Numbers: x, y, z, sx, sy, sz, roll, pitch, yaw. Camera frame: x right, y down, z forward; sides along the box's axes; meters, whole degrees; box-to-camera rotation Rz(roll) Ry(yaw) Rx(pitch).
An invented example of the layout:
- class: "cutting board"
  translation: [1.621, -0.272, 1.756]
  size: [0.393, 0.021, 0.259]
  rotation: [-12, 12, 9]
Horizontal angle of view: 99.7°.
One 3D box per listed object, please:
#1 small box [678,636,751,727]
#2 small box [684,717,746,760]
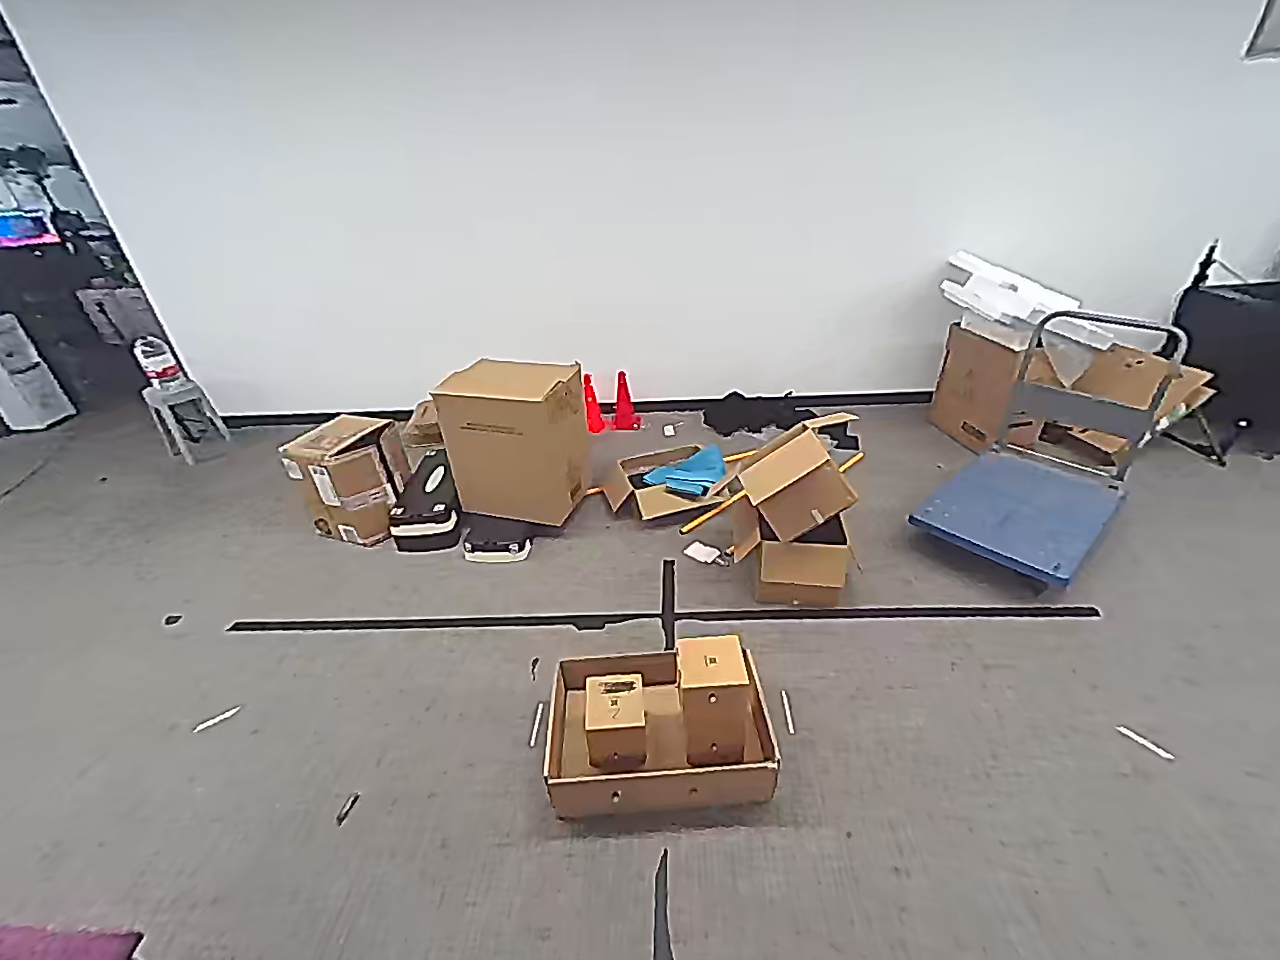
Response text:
- class: "small box"
  translation: [0.199, 0.554, 1.483]
  size: [0.179, 0.176, 0.168]
  rotation: [-5, 31, 1]
- class: "small box"
  translation: [0.212, 0.691, 1.569]
  size: [0.168, 0.176, 0.179]
  rotation: [-3, 30, 0]
